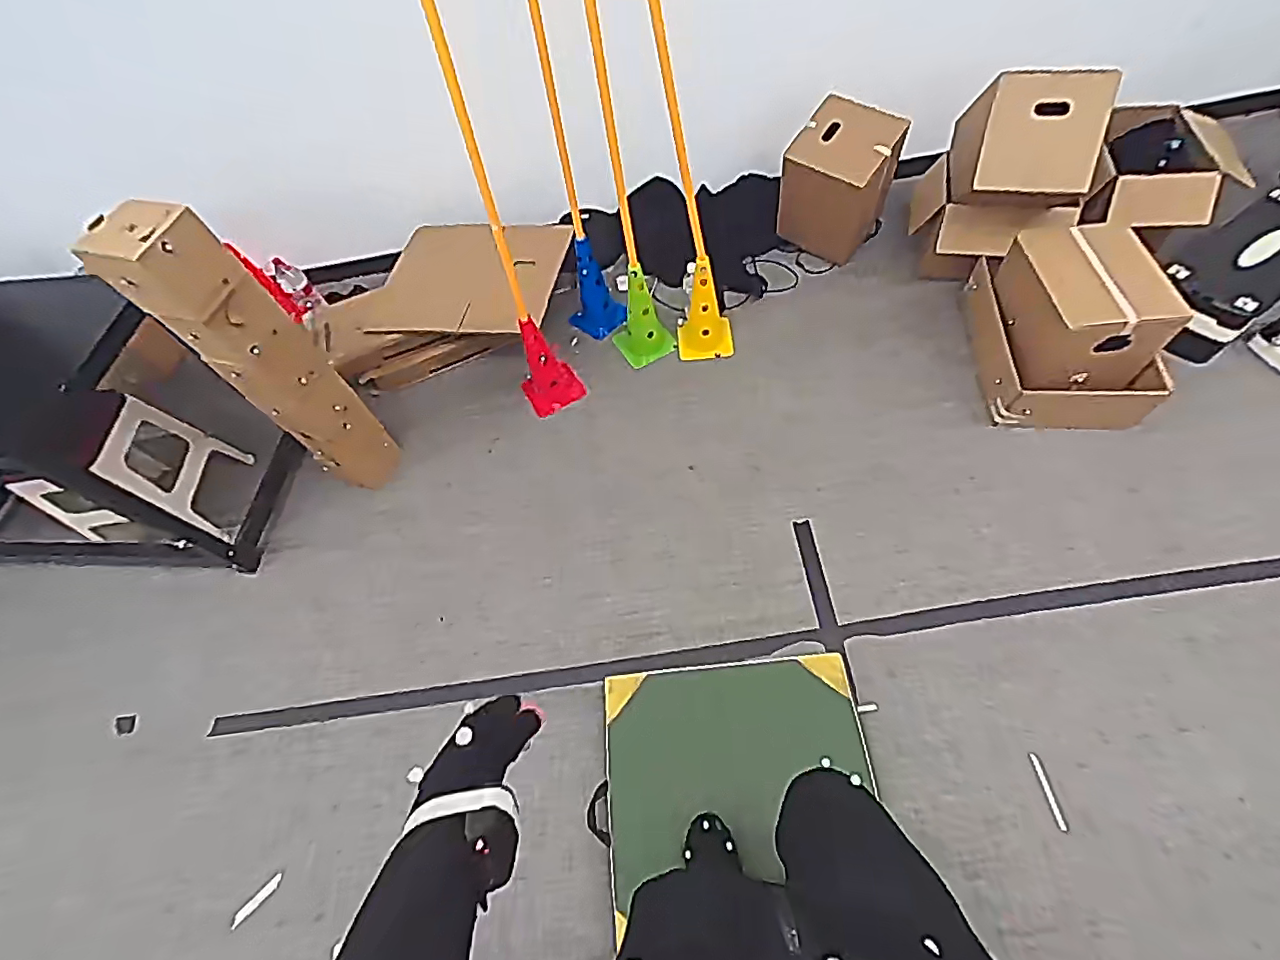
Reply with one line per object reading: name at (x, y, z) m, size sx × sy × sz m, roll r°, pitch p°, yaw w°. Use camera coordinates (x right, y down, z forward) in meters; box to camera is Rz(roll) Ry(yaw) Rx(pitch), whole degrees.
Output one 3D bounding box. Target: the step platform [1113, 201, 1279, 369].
step platform at (1.958, -0.657, 1.799) m, size 0.684 × 0.204 × 0.286 m, roll -34°, pitch 61°, yaw -11°
